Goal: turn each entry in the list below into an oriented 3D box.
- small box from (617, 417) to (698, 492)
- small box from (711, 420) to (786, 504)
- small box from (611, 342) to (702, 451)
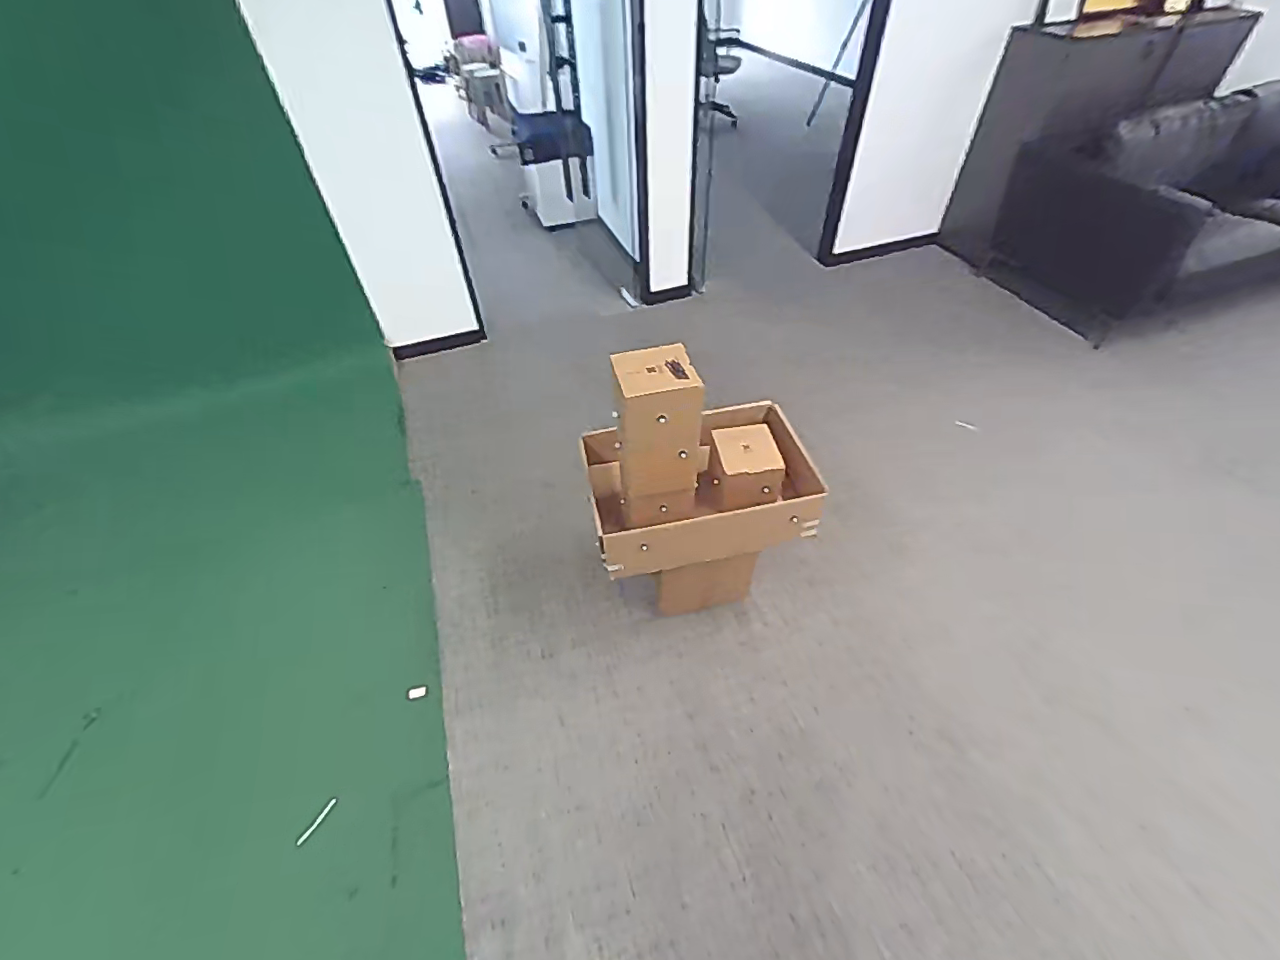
[{"bbox_3d":[0.044,-0.086,1.383,0.179,0.176,0.168,-10,49,-6],"label":"small box"},{"bbox_3d":[0.304,-0.045,1.543,0.168,0.176,0.179,-7,49,-4],"label":"small box"},{"bbox_3d":[0.036,-0.192,1.257,0.179,0.176,0.168,-12,49,-7],"label":"small box"}]
